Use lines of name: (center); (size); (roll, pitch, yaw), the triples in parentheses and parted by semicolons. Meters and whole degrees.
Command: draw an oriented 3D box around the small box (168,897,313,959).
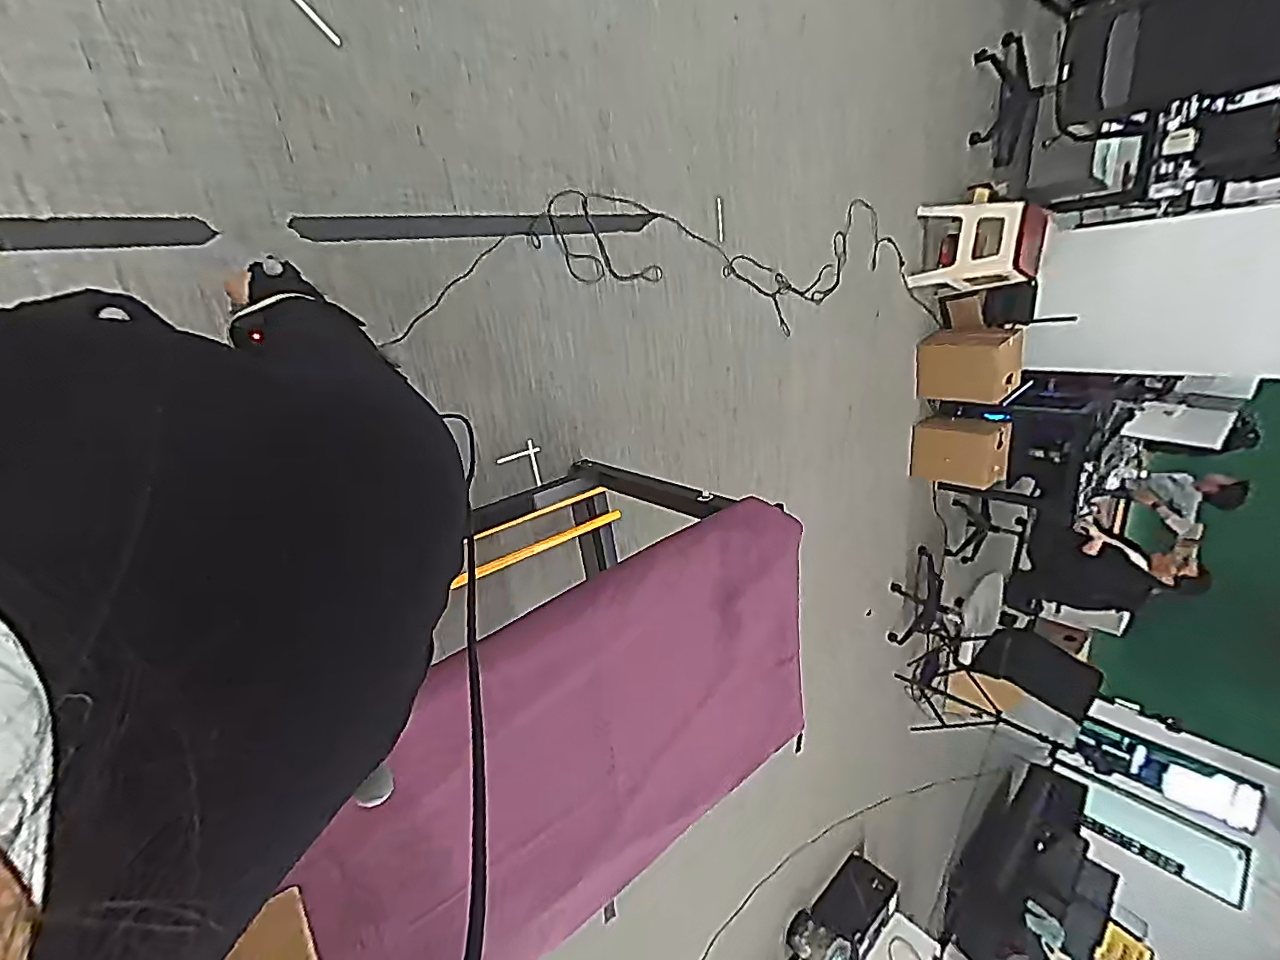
small box: (-0.426, 0.595, 0.556); (0.179, 0.176, 0.168); (-15, 111, -37)
